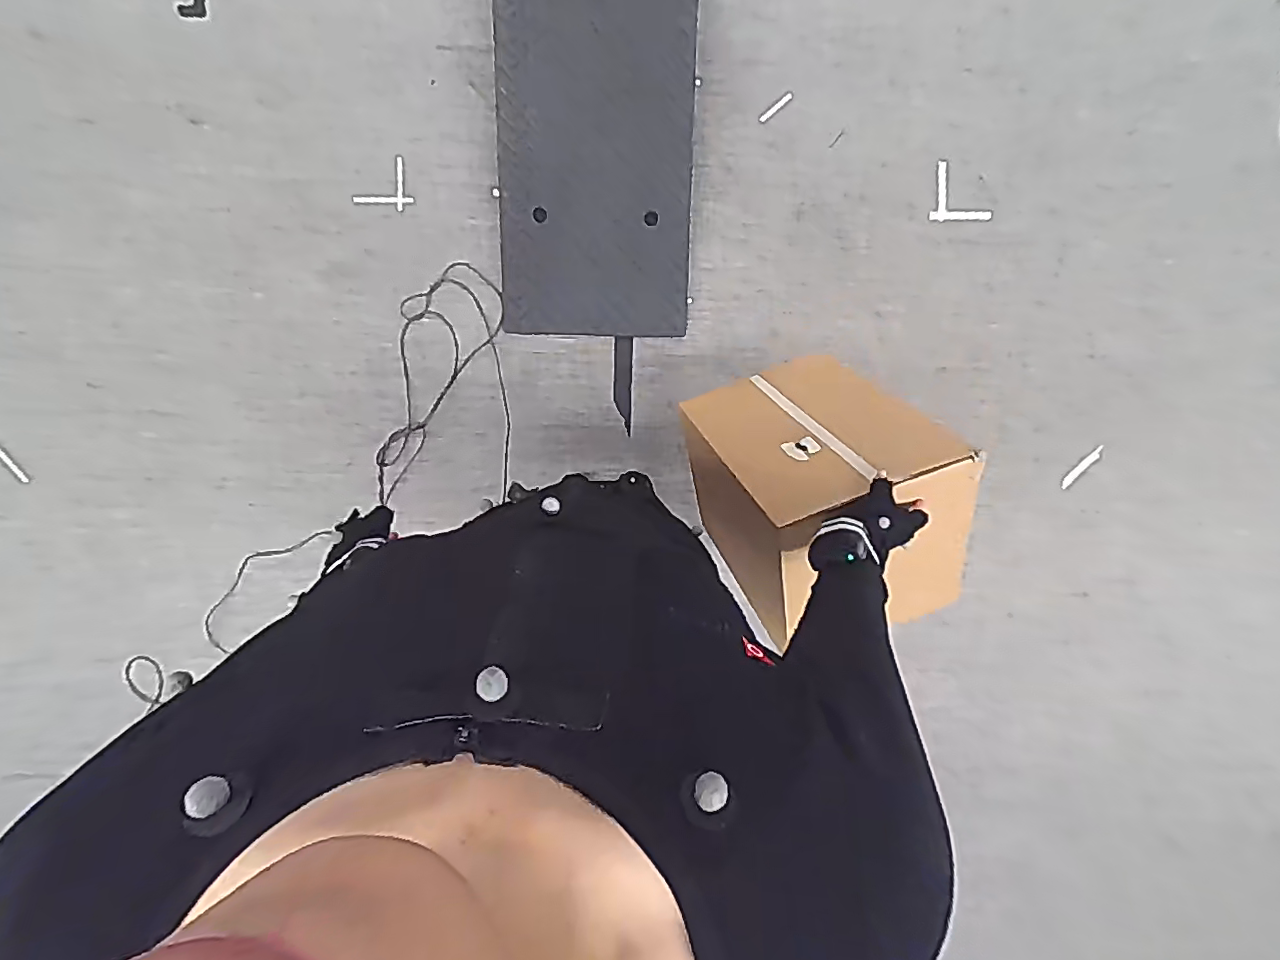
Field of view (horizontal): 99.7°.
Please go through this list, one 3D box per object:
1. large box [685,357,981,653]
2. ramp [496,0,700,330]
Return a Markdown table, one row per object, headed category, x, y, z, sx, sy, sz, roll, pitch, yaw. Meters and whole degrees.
| category | x | y | z | sx | sy | sz | roll | pitch | yaw |
| --- | --- | --- | --- | --- | --- | --- | --- | --- | --- |
| large box | 0.308 | 0.024 | 0.981 | 0.320 | 0.408 | 0.320 | -19 | 126 | -5 |
| ramp | -0.102 | -0.896 | 1.353 | 0.509 | 0.206 | 0.991 | -1 | 94 | -3 |
